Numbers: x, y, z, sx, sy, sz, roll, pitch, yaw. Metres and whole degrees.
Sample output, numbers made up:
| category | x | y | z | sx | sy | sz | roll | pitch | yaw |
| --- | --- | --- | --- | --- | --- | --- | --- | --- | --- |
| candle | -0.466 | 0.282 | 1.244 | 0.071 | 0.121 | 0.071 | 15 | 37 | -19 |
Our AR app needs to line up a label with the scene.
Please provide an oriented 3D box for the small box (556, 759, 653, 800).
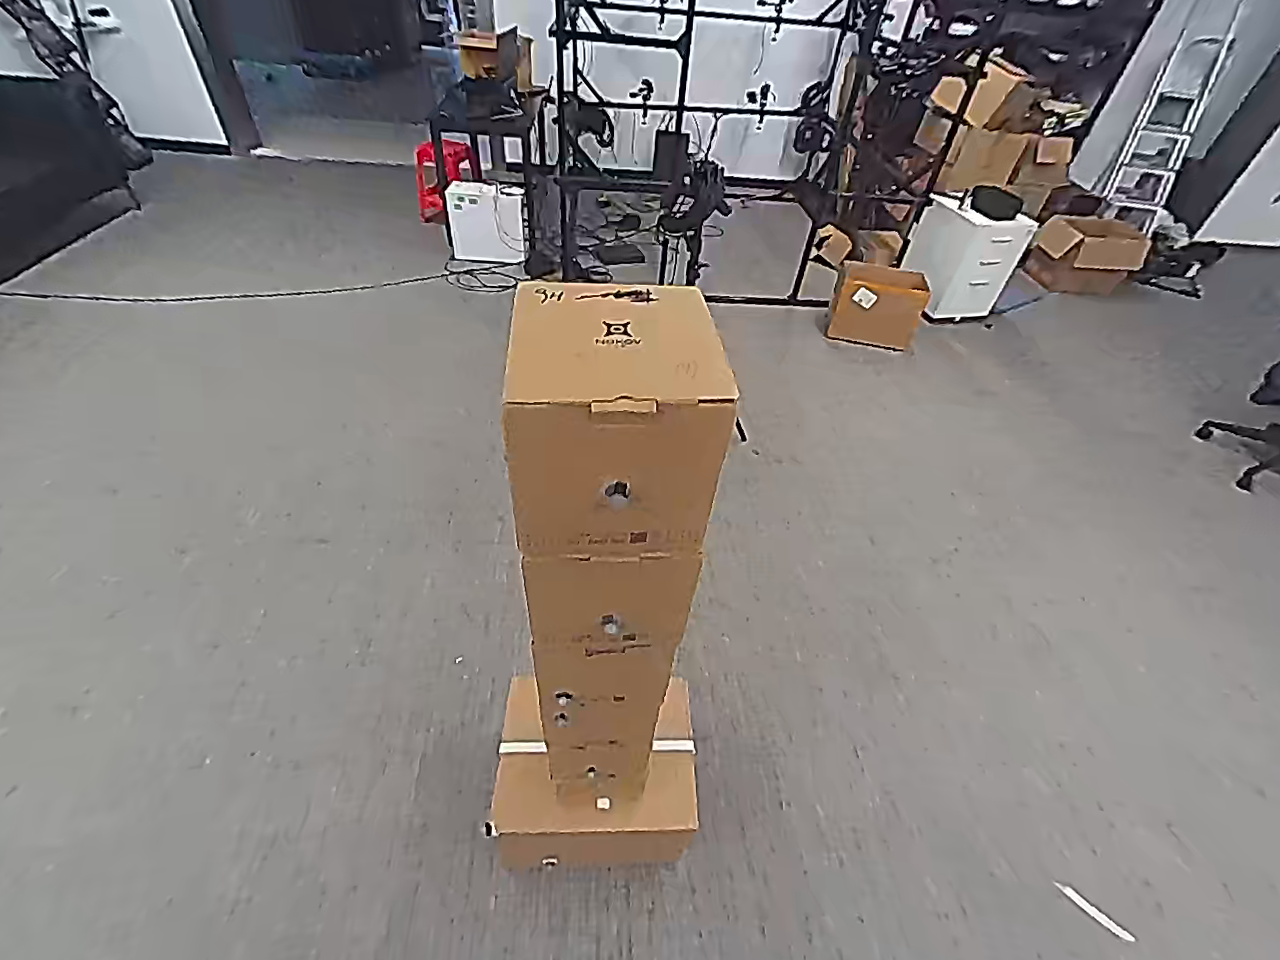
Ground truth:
| category | x | y | z | sx | sy | sz | roll | pitch | yaw |
| --- | --- | --- | --- | --- | --- | --- | --- | --- | --- |
| small box | -0.072 | 0.518 | 1.069 | 0.179 | 0.176 | 0.168 | 0 | 45 | -7 |

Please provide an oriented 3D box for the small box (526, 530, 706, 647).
| category | x | y | z | sx | sy | sz | roll | pitch | yaw |
| --- | --- | --- | --- | --- | --- | --- | --- | --- | --- |
| small box | -0.031 | 0.064 | 0.598 | 0.168 | 0.176 | 0.179 | 0 | 46 | -5 |

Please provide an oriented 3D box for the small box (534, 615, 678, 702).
| category | x | y | z | sx | sy | sz | roll | pitch | yaw |
| --- | --- | --- | --- | --- | --- | --- | --- | --- | --- |
| small box | -0.042 | 0.179 | 0.716 | 0.168 | 0.176 | 0.179 | 2 | 45 | -4 |

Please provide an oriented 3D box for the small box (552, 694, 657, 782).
| category | x | y | z | sx | sy | sz | roll | pitch | yaw |
| --- | --- | --- | --- | --- | --- | --- | --- | --- | --- |
| small box | -0.065 | 0.408 | 0.950 | 0.168 | 0.176 | 0.179 | 0 | 46 | -5 |

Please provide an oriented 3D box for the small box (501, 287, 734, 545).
| category | x | y | z | sx | sy | sz | roll | pitch | yaw |
| --- | --- | --- | --- | --- | --- | --- | --- | --- | --- |
| small box | -0.024 | -0.054 | 0.485 | 0.168 | 0.176 | 0.179 | -1 | 46 | -7 |
